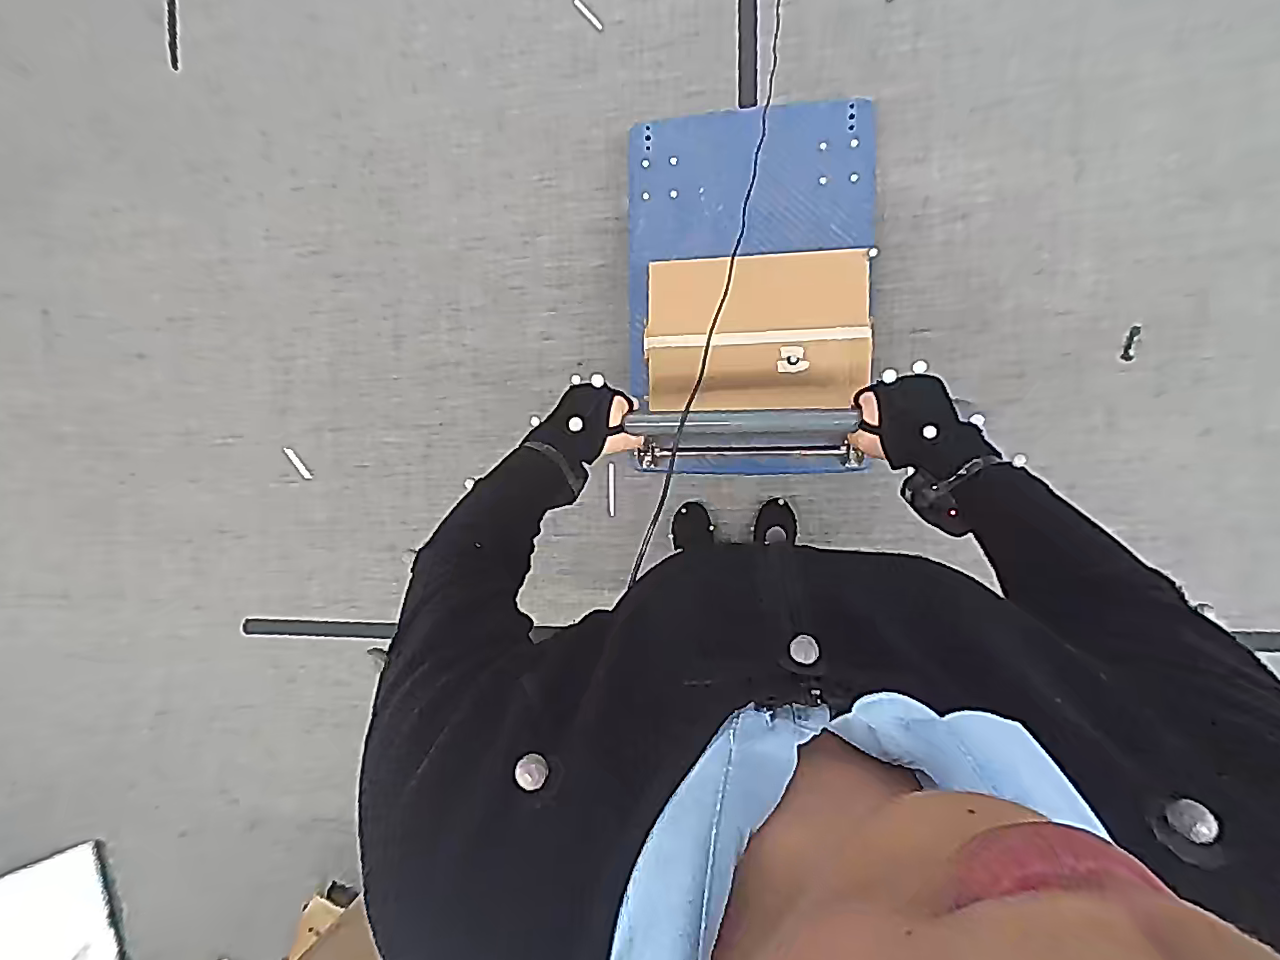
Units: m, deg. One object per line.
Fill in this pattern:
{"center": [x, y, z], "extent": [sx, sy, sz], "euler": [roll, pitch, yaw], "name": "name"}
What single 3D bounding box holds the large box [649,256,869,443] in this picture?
{"center": [0.236, -0.249, 1.155], "extent": [0.408, 0.320, 0.320], "euler": [0, 90, 9], "name": "large box"}
